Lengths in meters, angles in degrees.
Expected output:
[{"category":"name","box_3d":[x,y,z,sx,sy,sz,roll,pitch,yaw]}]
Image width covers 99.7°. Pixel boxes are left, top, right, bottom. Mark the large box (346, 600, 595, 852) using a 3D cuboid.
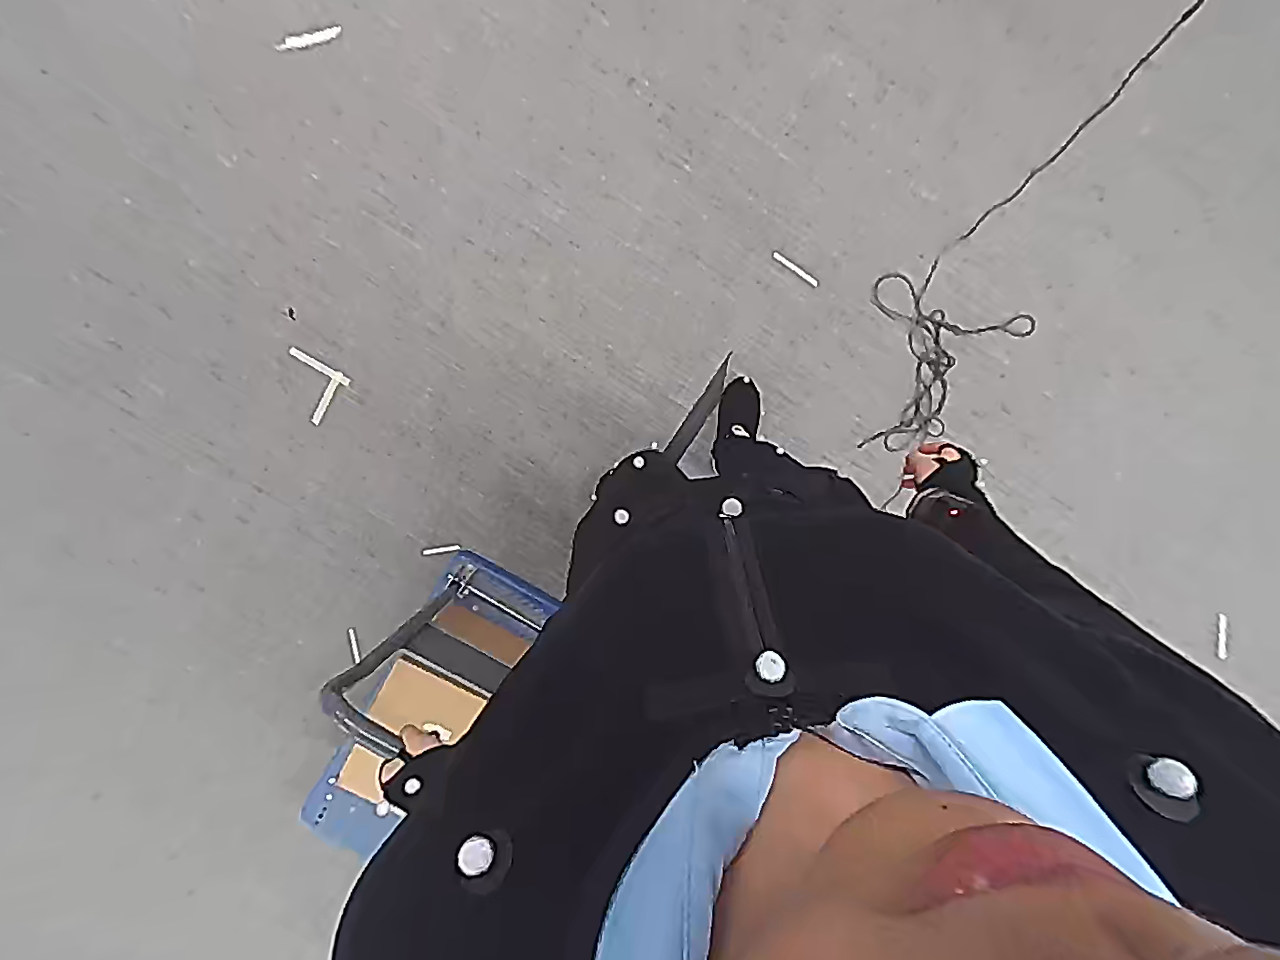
[{"category":"large box","box_3d":[-0.360,0.540,1.251,0.408,0.320,0.320,28,96,-3]}]
